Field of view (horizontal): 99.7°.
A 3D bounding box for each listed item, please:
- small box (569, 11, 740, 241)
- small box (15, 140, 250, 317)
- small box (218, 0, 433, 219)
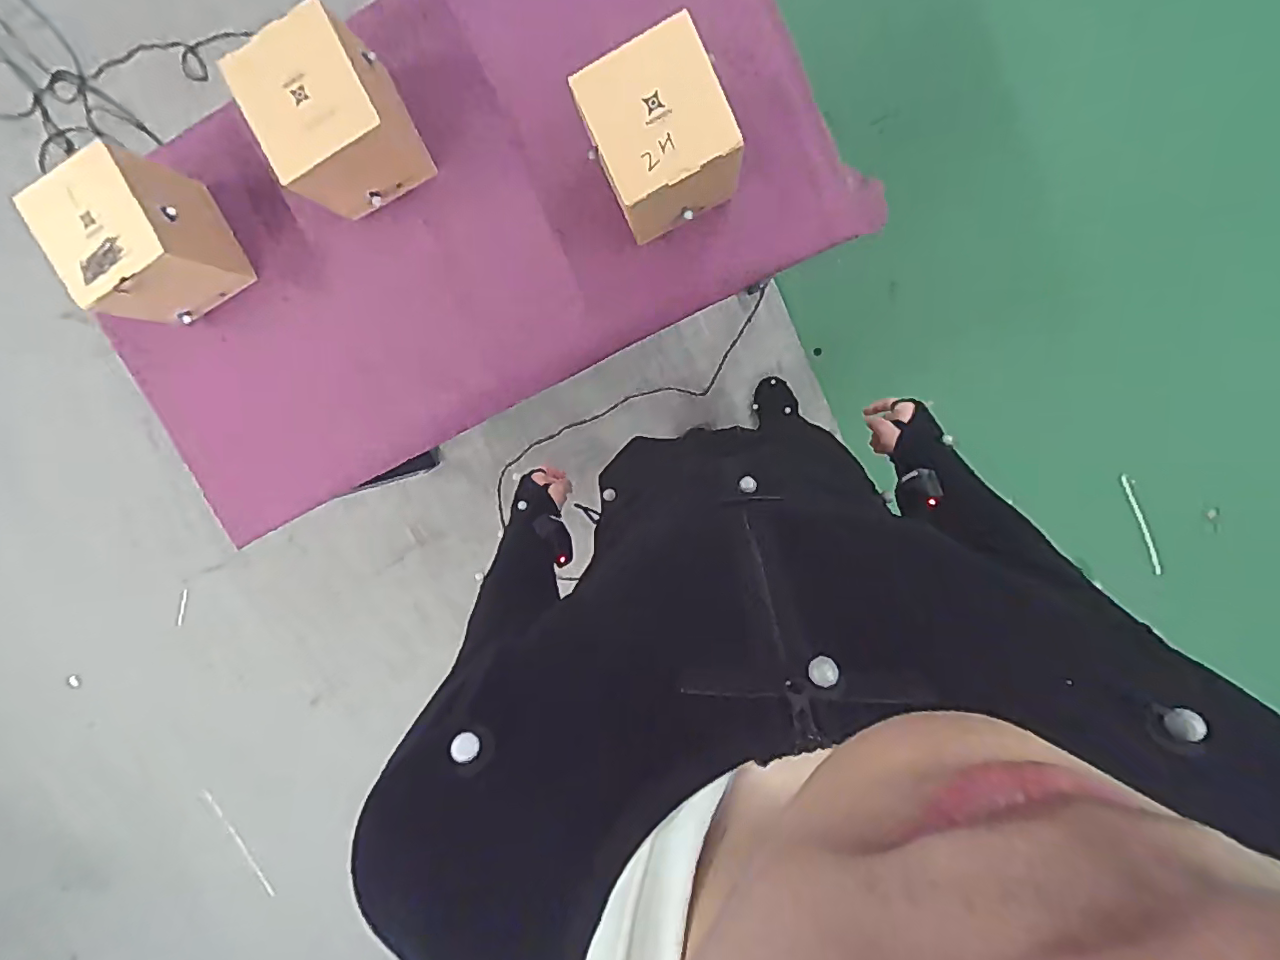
[{"bbox_3d":[0.024,-0.468,0.749,0.168,0.176,0.179,-24,94,9],"label":"small box"},{"bbox_3d":[-0.762,-0.367,0.834,0.168,0.176,0.179,-27,95,8],"label":"small box"},{"bbox_3d":[-0.441,-0.520,0.787,0.168,0.176,0.179,-25,96,9],"label":"small box"}]
